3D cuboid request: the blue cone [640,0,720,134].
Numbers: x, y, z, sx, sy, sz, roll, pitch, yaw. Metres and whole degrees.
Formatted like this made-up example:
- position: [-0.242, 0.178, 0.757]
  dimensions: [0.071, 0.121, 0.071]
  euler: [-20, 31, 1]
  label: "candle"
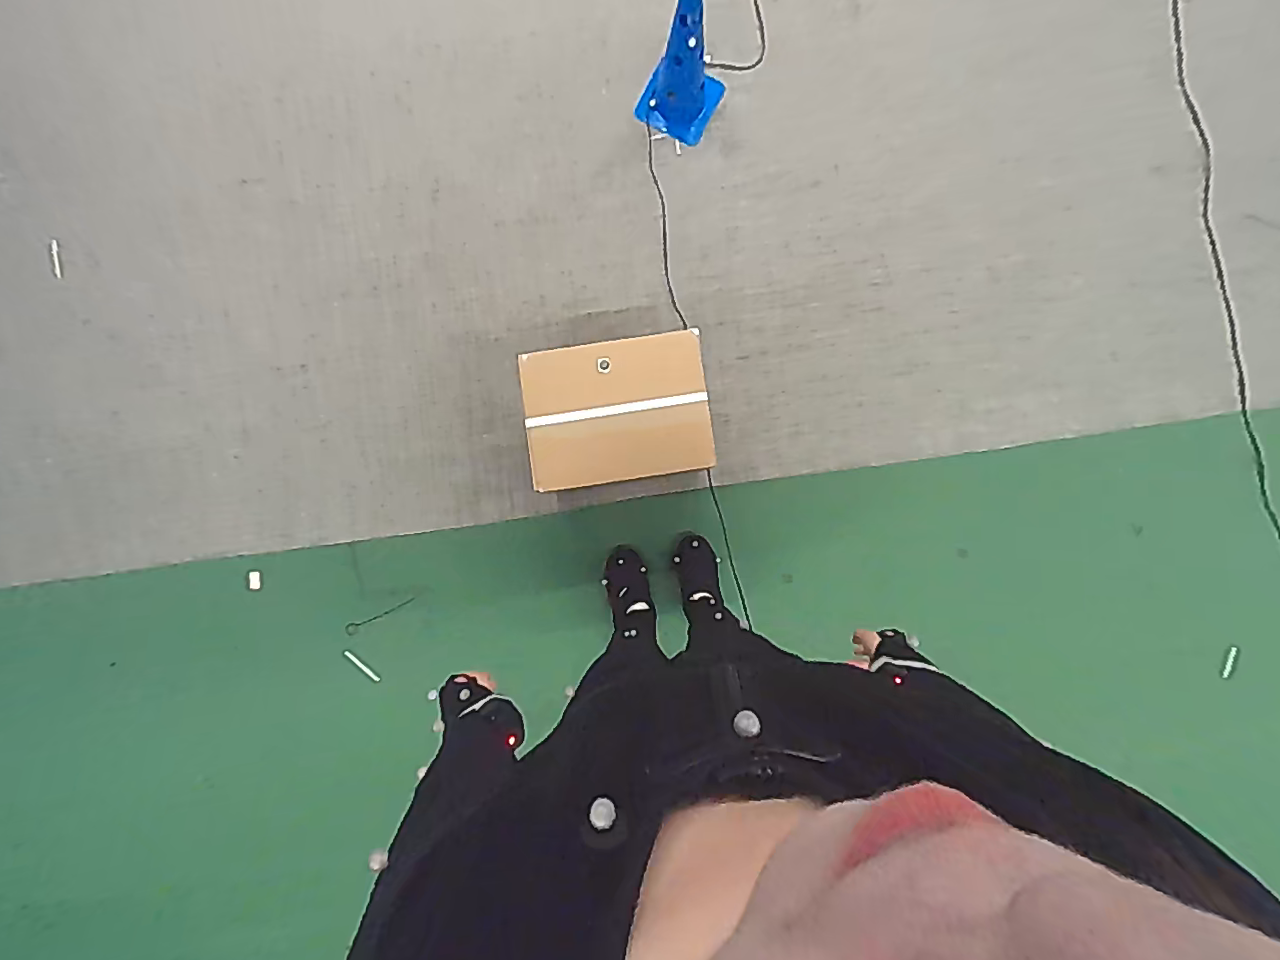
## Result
- position: [0.110, -1.059, 1.316]
  dimensions: [0.192, 0.380, 0.193]
  euler: [25, 90, 0]
  label: "blue cone"
